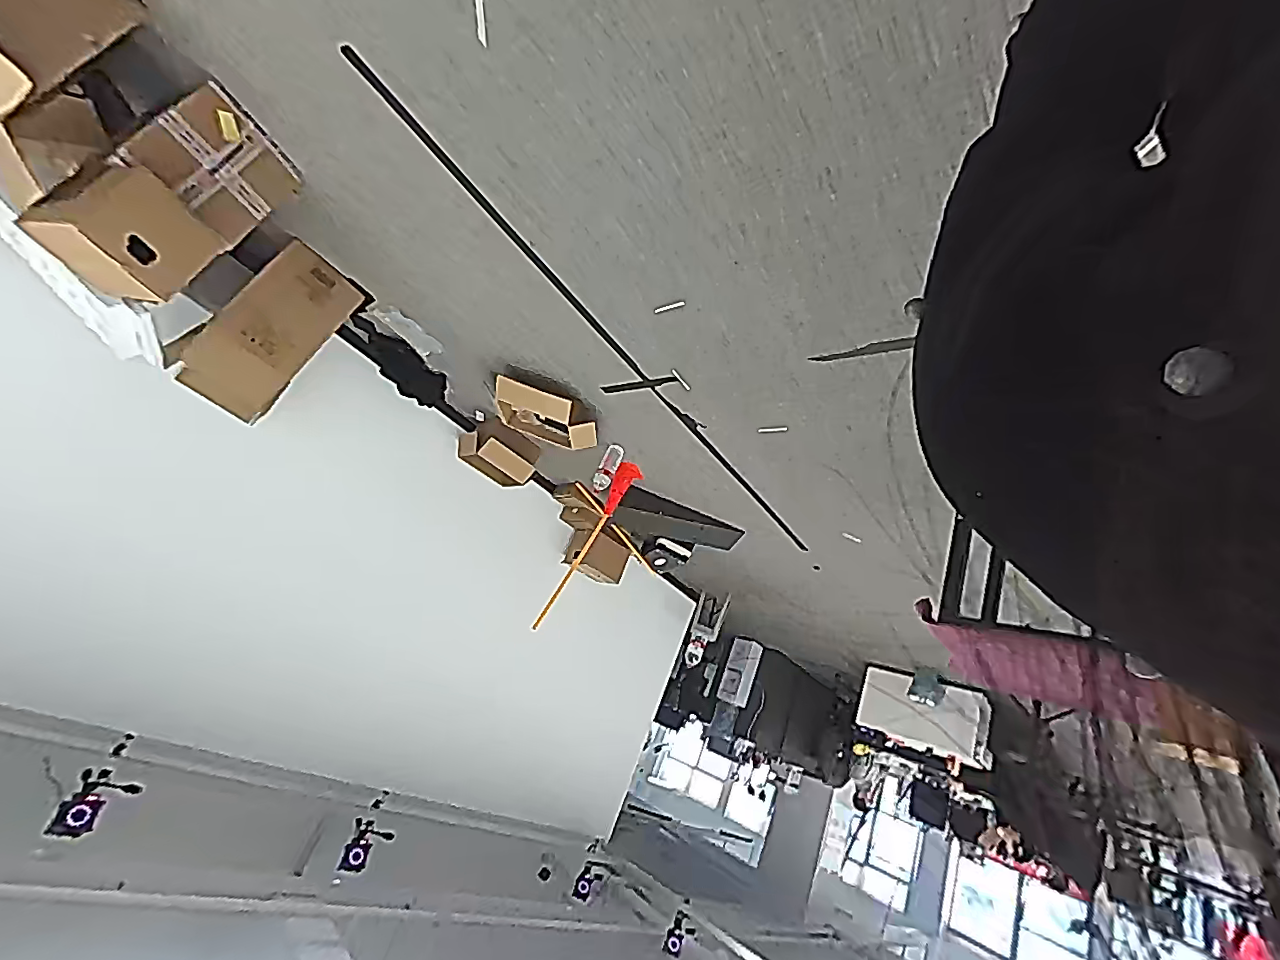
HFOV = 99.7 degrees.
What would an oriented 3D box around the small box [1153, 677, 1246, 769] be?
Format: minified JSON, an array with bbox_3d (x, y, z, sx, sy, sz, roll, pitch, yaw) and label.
[{"bbox_3d":[1.535,0.665,1.490,0.168,0.176,0.179,1,150,43],"label":"small box"}]
